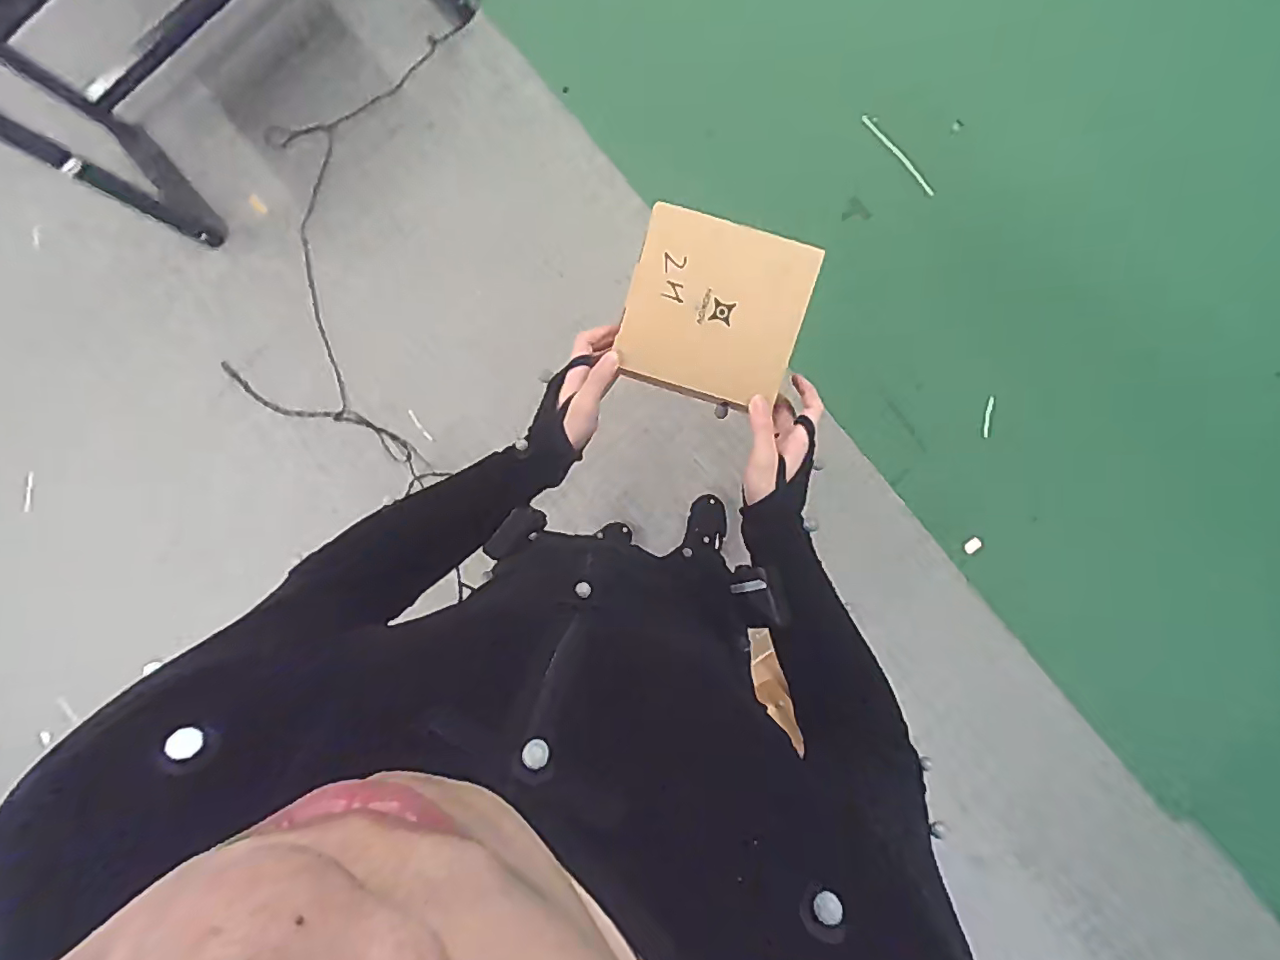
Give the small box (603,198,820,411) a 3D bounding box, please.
[{"bbox_3d":[0.072,-0.181,0.609,0.179,0.176,0.168,17,97,2],"label":"small box"}]
